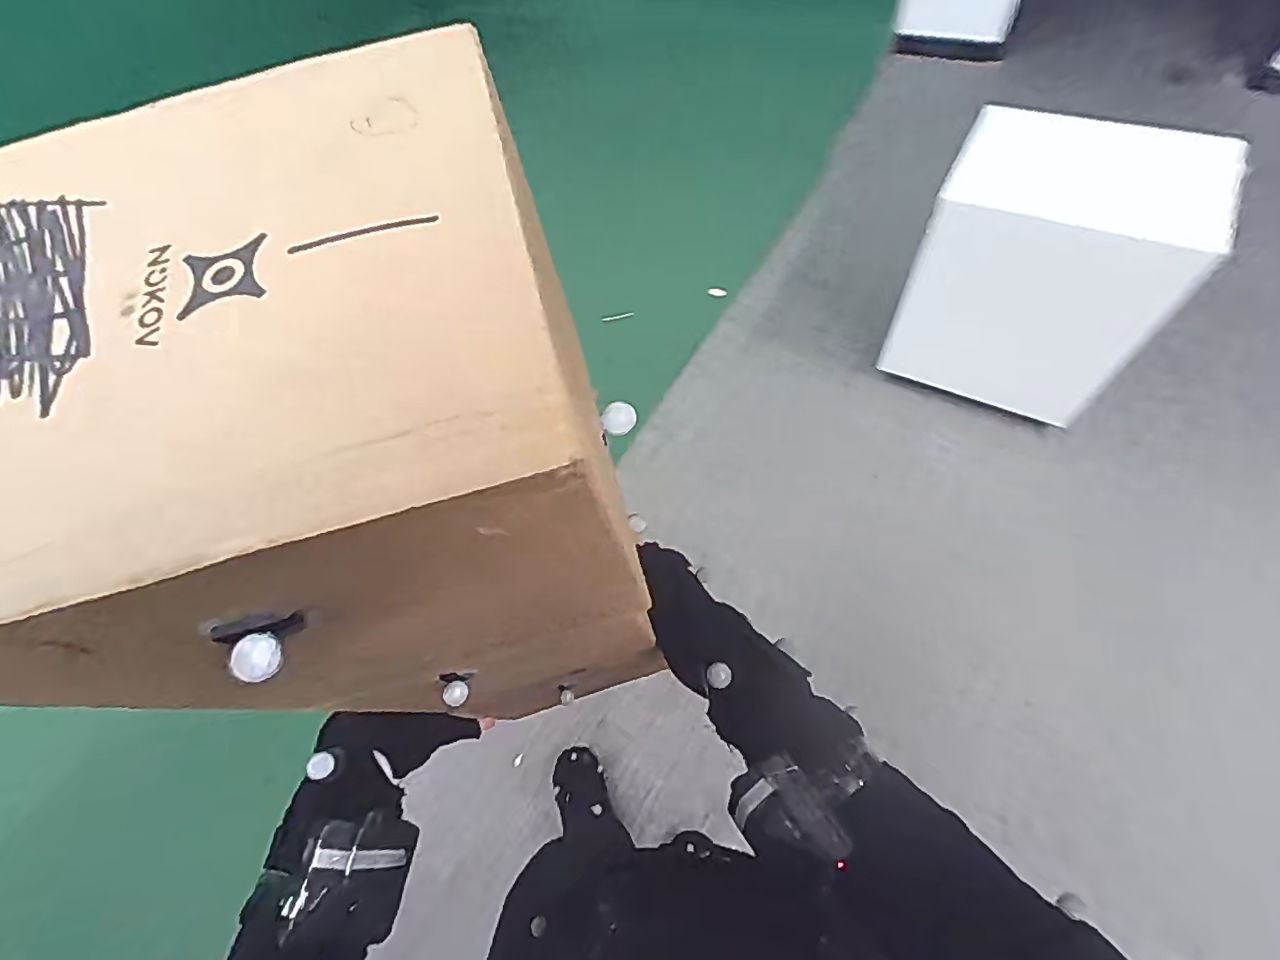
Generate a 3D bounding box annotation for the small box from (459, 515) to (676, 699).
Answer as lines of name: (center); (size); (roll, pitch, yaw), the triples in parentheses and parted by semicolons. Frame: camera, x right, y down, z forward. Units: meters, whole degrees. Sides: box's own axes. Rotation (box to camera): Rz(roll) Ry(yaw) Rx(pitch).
small box: (-0.071, 0.106, 0.528); (0.179, 0.176, 0.168); (-17, 66, -2)
